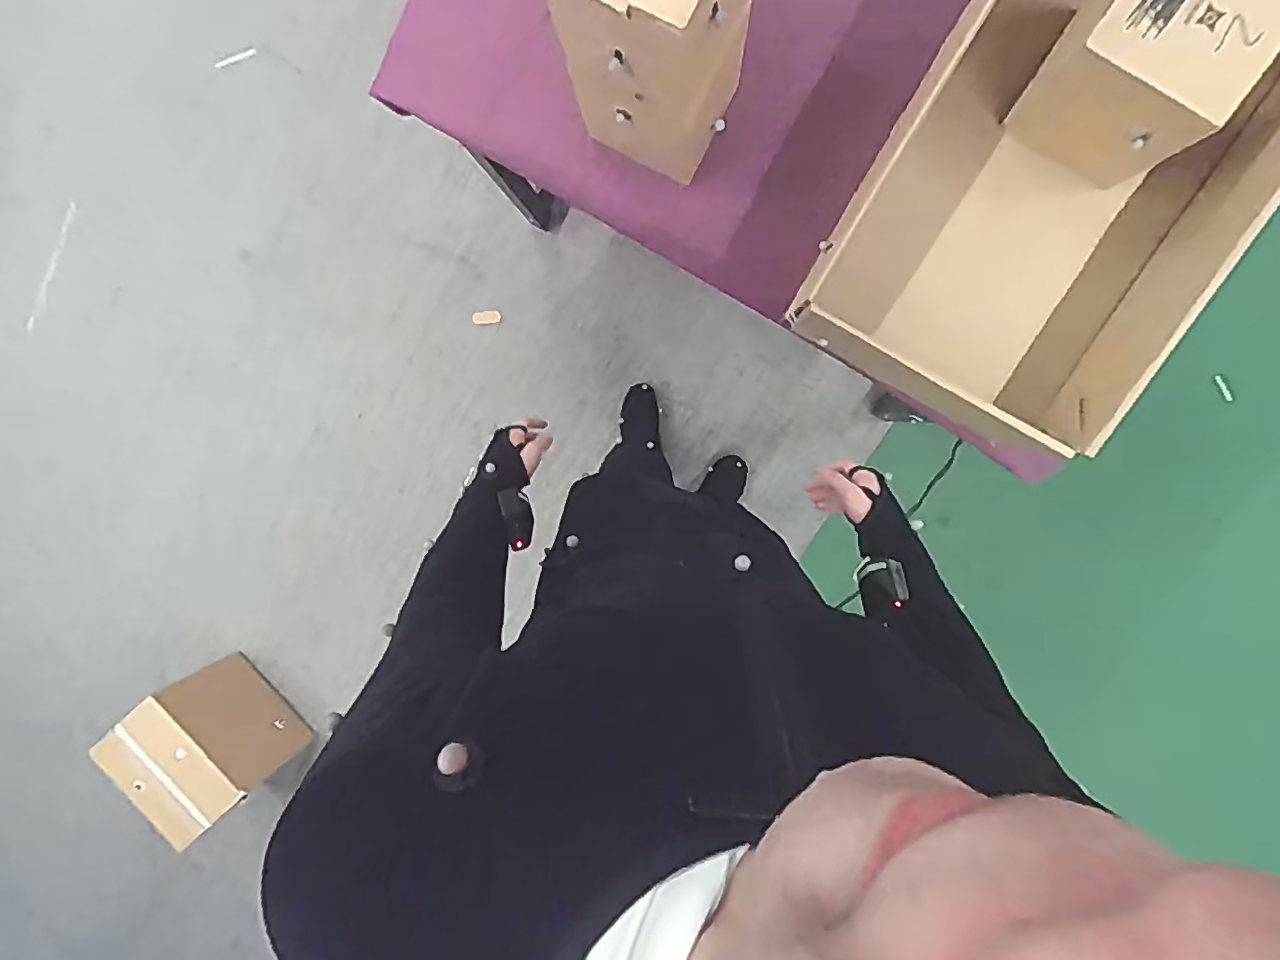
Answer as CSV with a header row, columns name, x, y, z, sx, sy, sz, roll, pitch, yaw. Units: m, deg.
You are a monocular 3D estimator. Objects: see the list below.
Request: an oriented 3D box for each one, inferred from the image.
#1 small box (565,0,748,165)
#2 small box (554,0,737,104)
name,x,y,z,sx,sy,sz,roll,pitch,yaw
small box,0.025,-0.570,0.736,0.179,0.176,0.168,28,99,0
small box,0.013,-0.554,0.574,0.168,0.176,0.179,29,99,0
